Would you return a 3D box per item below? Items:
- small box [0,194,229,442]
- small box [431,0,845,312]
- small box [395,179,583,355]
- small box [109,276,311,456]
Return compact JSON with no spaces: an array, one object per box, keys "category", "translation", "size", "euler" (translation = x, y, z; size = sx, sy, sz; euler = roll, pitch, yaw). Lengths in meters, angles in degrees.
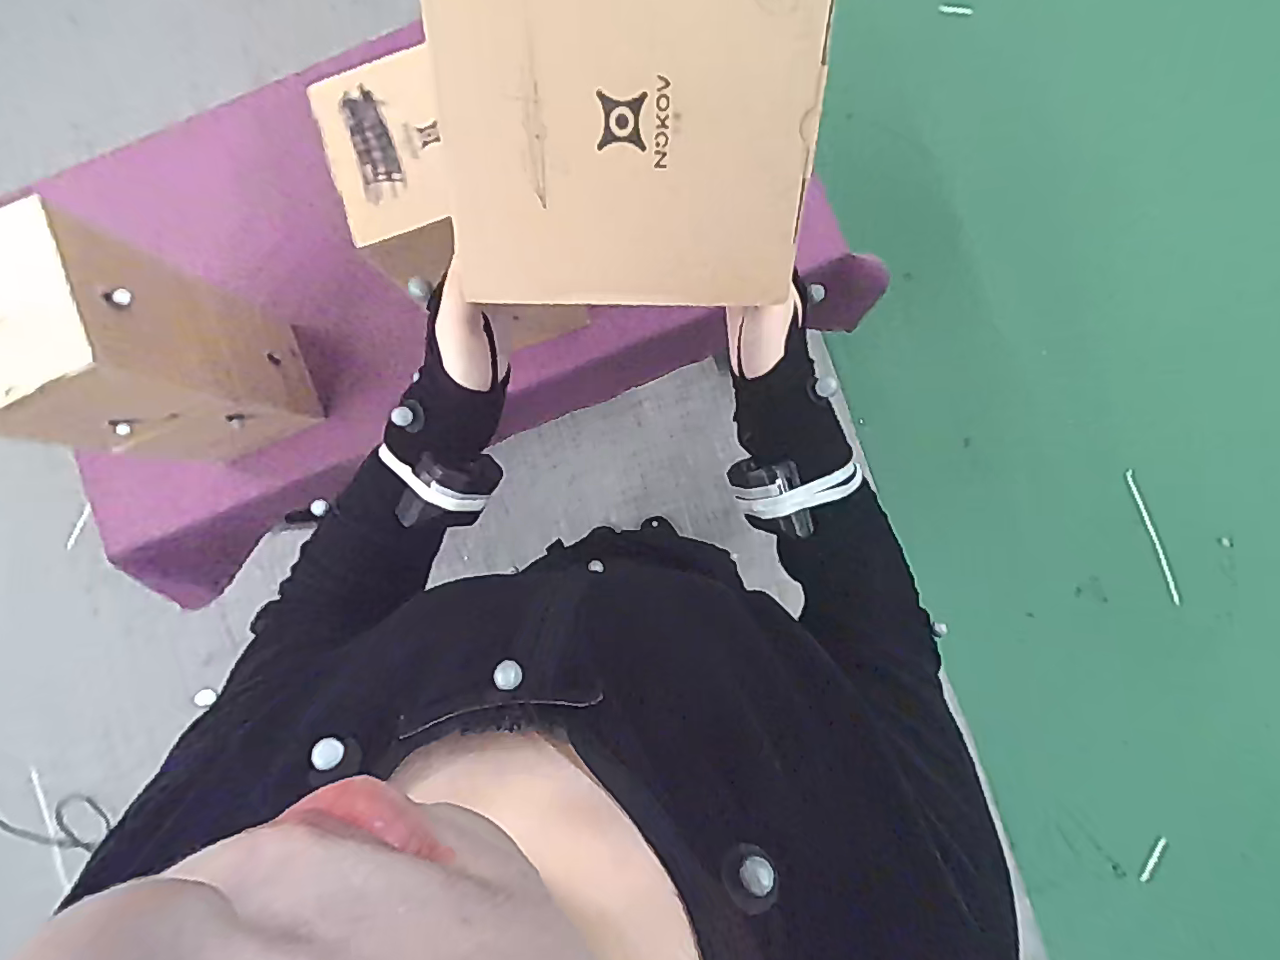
[{"category":"small box","translation":[-0.600,-0.156,0.579],"size":[0.168,0.176,0.179],"euler":[-22,87,0]},{"category":"small box","translation":[-0.005,-0.206,0.318],"size":[0.179,0.176,0.168],"euler":[1,122,-3]},{"category":"small box","translation":[-0.192,-0.289,0.736],"size":[0.179,0.176,0.168],"euler":[-20,87,1]},{"category":"small box","translation":[-0.590,-0.143,0.742],"size":[0.179,0.176,0.168],"euler":[-22,86,0]}]
